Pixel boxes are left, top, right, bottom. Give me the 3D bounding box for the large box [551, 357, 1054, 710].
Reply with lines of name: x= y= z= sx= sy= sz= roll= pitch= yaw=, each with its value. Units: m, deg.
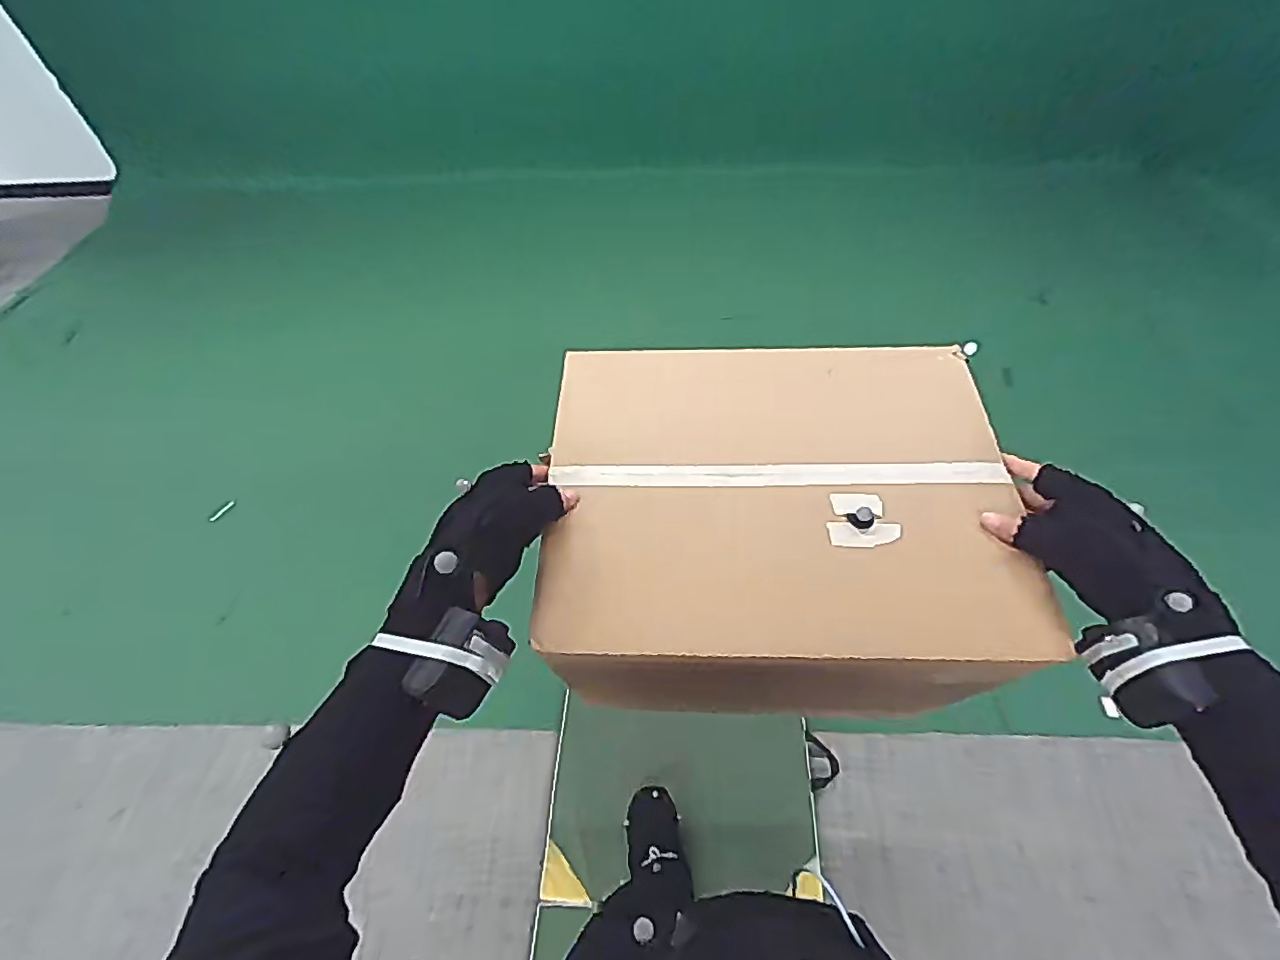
large box: x=0.130 y=0.079 z=0.628 sx=0.408 sy=0.320 sz=0.320 roll=0 pitch=60 yaw=2
